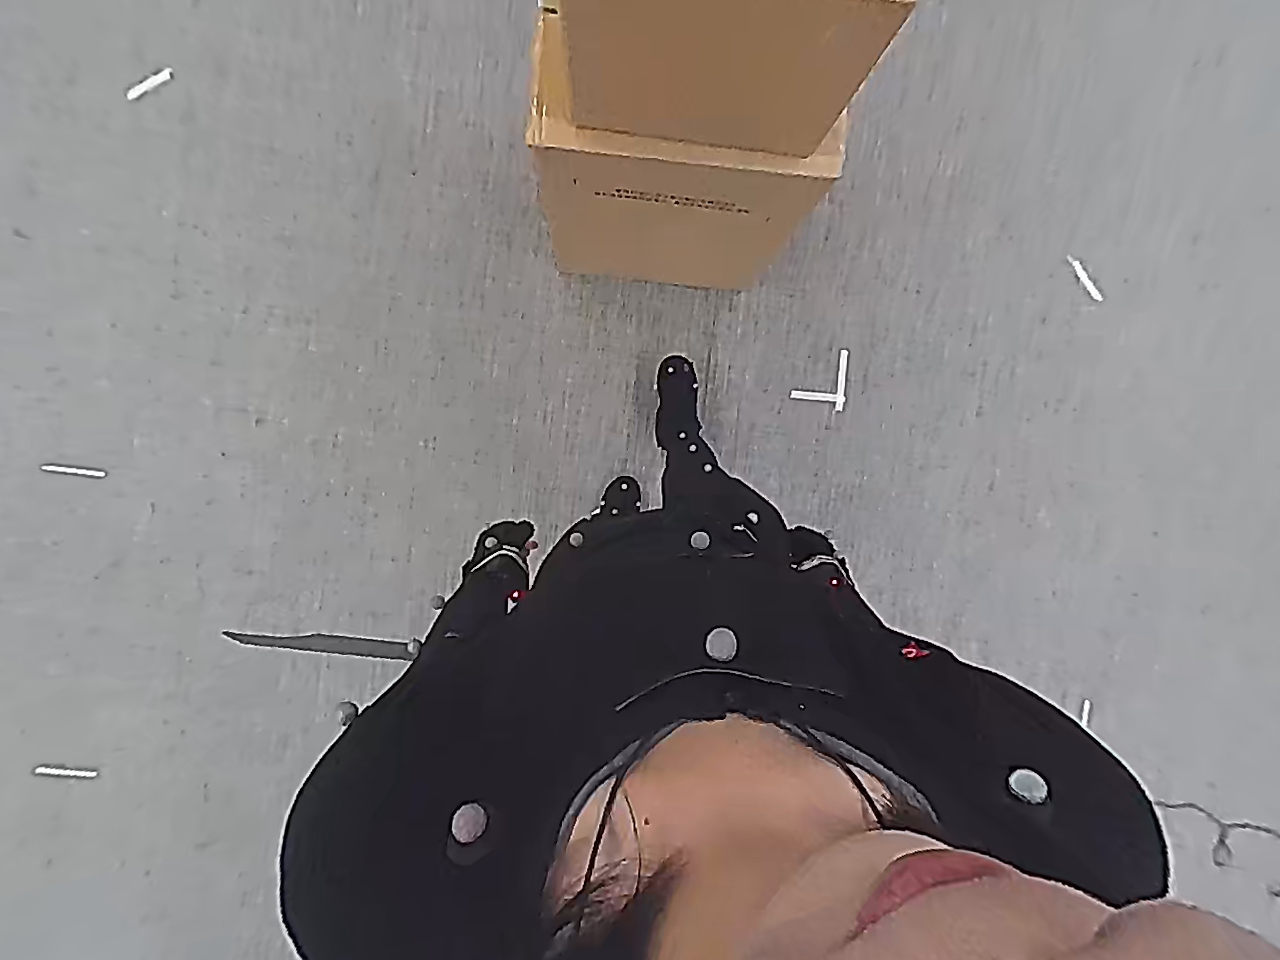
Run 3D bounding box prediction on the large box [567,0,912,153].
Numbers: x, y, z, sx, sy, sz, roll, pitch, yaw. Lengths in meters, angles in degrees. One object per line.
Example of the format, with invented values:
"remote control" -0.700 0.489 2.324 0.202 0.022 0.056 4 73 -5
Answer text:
"large box" 0.110 -0.704 0.743 0.408 0.320 0.320 4 92 -5
